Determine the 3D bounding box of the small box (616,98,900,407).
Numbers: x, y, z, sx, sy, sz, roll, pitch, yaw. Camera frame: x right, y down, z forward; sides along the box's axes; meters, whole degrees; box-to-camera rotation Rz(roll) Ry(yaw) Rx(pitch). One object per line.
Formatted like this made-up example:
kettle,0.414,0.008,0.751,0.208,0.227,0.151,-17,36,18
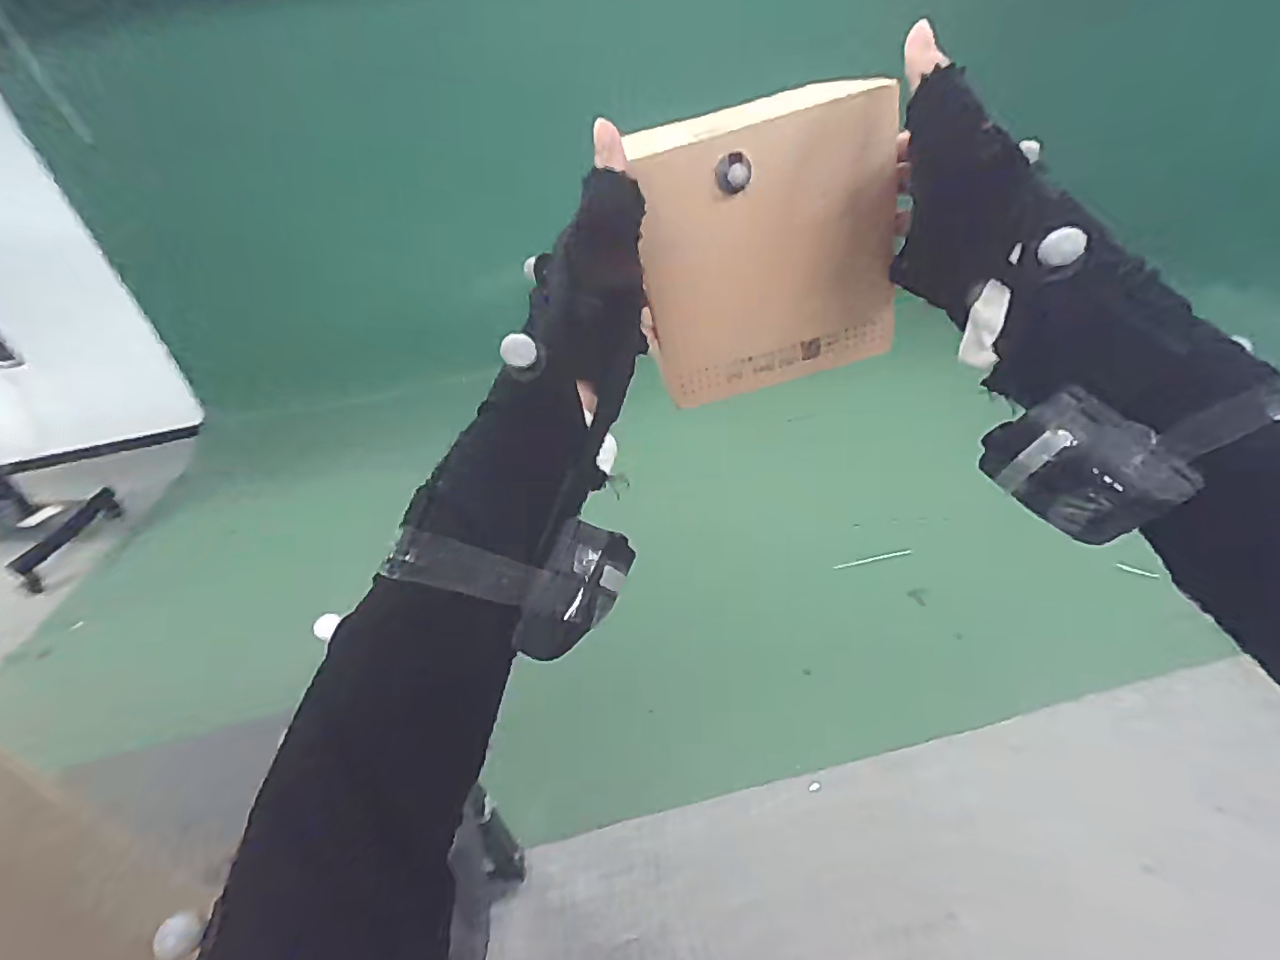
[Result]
small box,0.084,-0.180,0.434,0.168,0.176,0.179,-16,33,2
